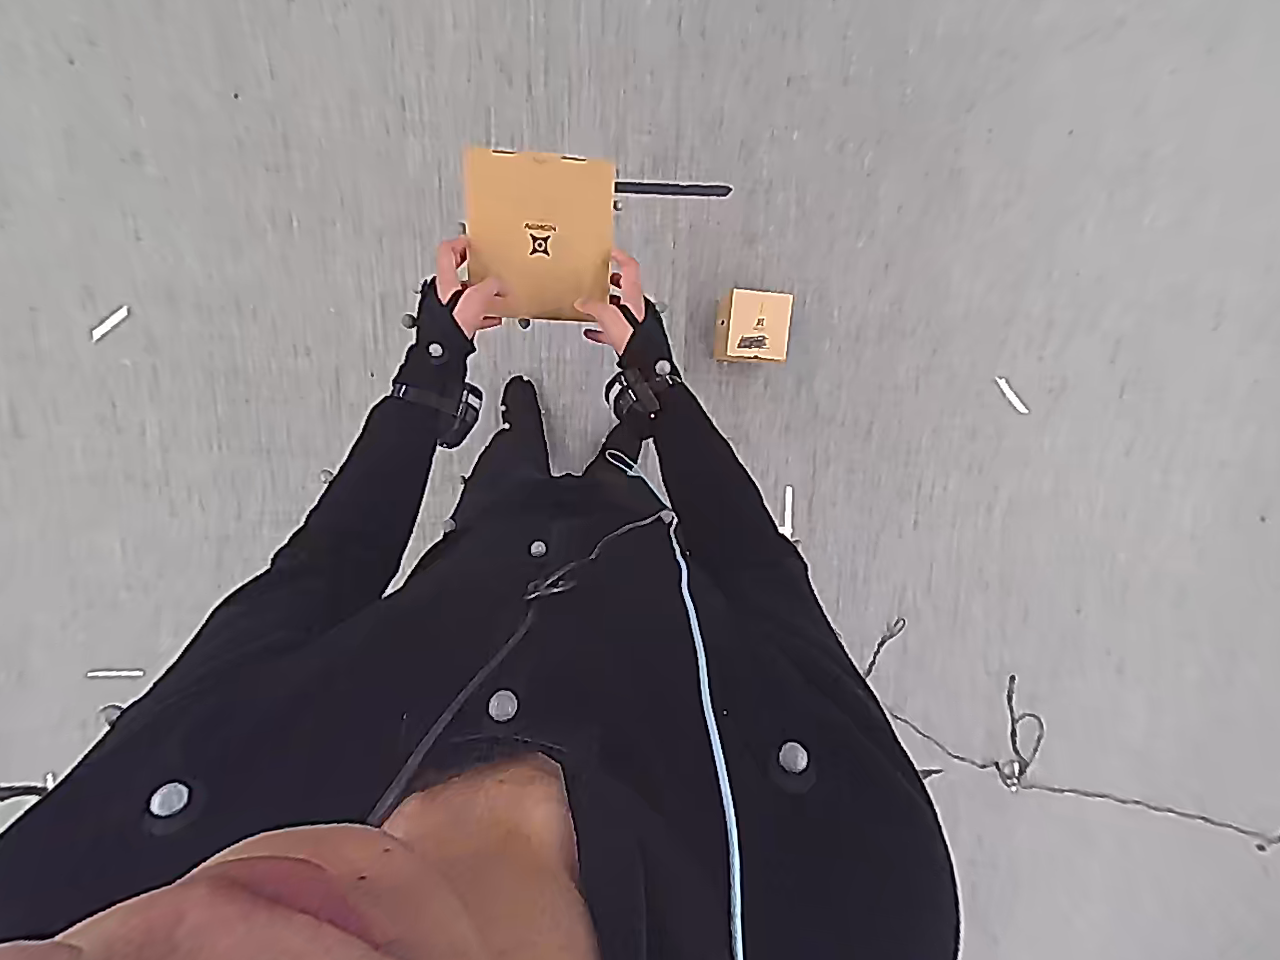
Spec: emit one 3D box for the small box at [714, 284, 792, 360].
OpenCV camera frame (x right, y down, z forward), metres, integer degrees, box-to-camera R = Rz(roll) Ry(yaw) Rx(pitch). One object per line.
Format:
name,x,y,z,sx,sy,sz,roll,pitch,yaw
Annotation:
small box,0.307,-0.433,1.509,0.168,0.176,0.179,4,98,-6

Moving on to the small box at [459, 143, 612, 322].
small box,-0.126,-0.299,0.682,0.168,0.176,0.179,0,108,-9
